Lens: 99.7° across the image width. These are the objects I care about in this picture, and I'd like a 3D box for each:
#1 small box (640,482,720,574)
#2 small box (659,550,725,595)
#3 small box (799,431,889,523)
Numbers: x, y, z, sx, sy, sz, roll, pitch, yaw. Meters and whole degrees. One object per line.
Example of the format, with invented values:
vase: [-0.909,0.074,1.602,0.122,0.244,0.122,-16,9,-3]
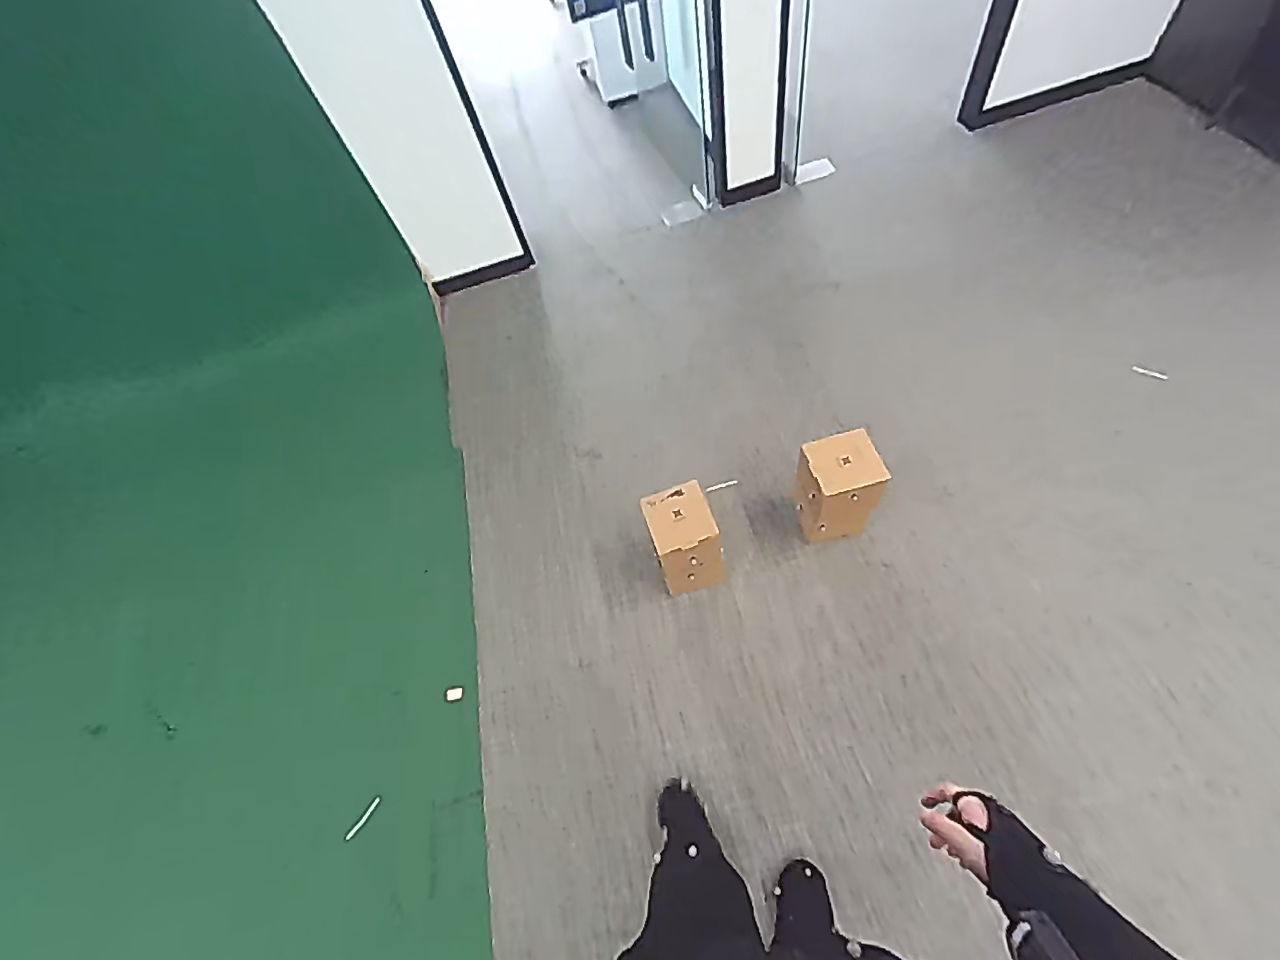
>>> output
small box: [0.114,0.140,1.468,0.168,0.176,0.179,-19,58,-1]
small box: [0.145,0.223,1.606,0.179,0.176,0.168,-17,58,0]
small box: [0.541,-0.003,1.469,0.179,0.176,0.168,-15,58,1]
